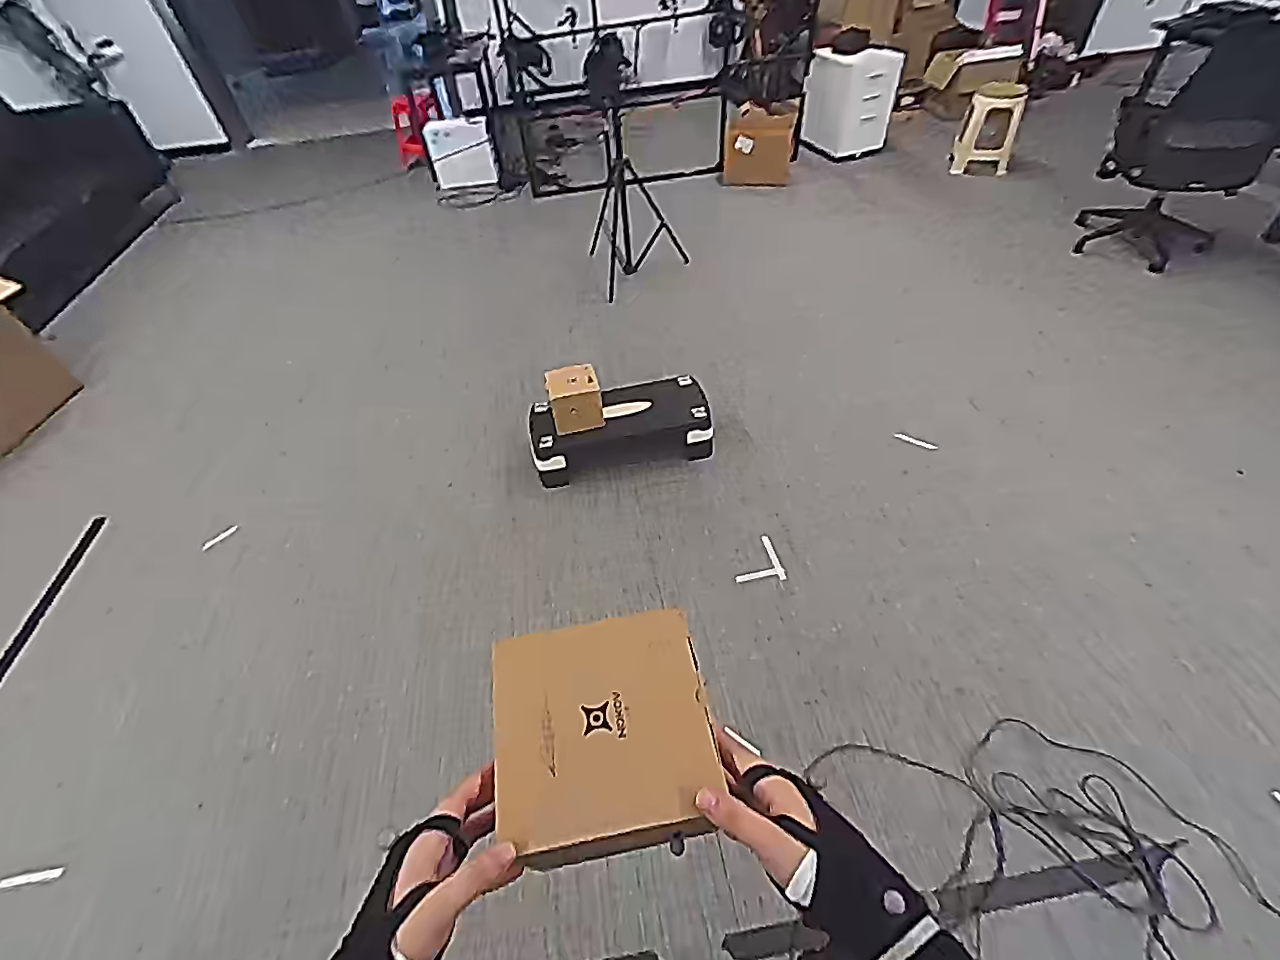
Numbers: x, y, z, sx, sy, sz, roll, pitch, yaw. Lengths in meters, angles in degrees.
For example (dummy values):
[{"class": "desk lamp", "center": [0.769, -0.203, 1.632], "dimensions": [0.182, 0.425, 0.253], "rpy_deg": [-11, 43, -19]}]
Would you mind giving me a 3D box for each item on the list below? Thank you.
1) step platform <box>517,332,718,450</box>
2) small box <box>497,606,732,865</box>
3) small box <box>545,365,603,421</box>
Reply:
[{"class": "step platform", "center": [-0.075, -0.315, 1.909], "dimensions": [0.684, 0.204, 0.286], "rpy_deg": [-11, 47, -5]}, {"class": "small box", "center": [-0.027, 0.243, 0.508], "dimensions": [0.179, 0.176, 0.168], "rpy_deg": [-11, 51, -4]}, {"class": "small box", "center": [-0.235, -0.283, 1.945], "dimensions": [0.179, 0.176, 0.168], "rpy_deg": [-14, 48, -6]}]
